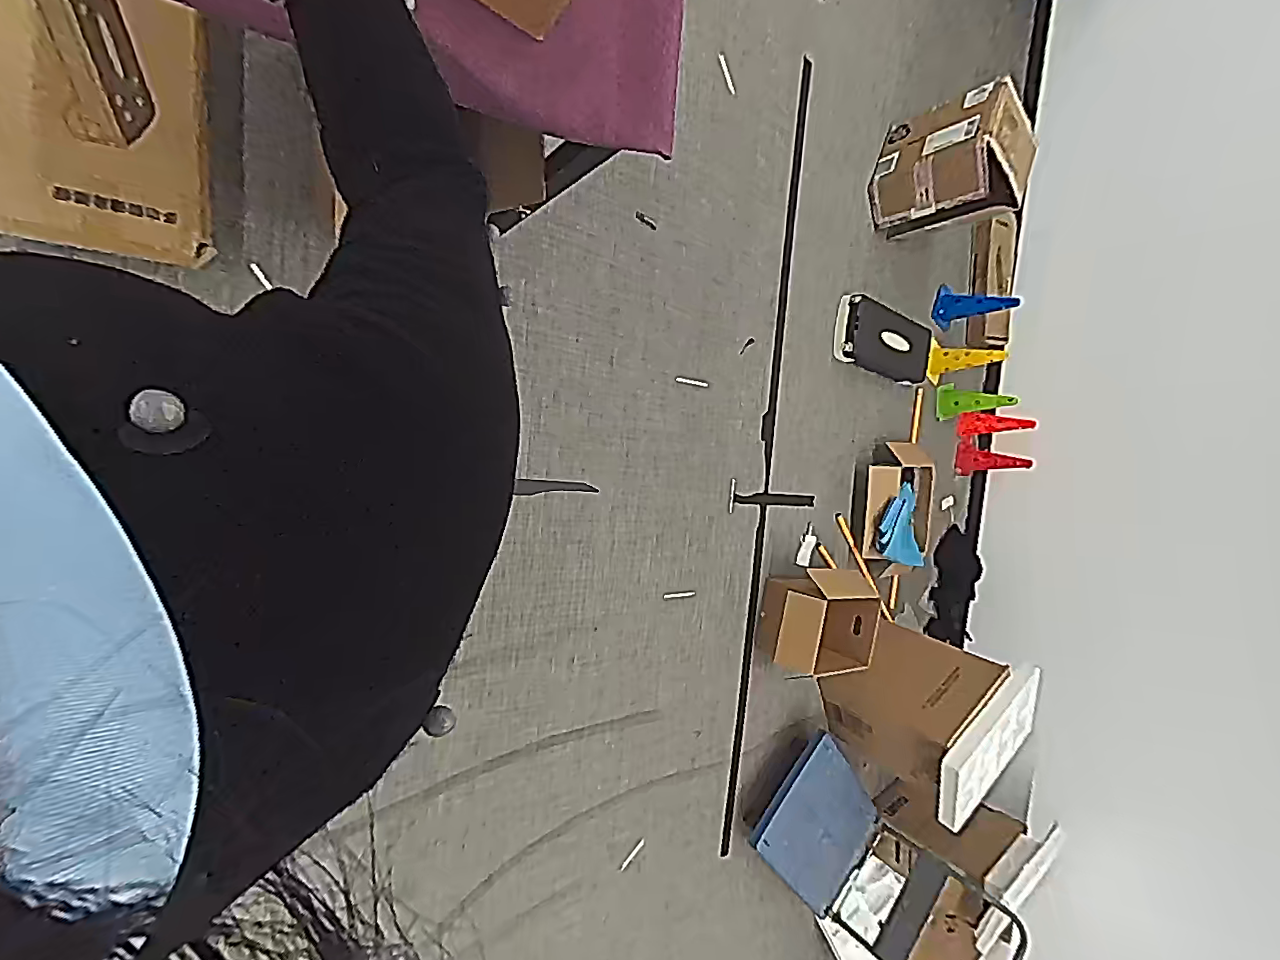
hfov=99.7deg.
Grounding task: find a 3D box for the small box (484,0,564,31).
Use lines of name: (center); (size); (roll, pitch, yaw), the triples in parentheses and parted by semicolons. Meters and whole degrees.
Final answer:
small box: (-0.154, -0.715, 0.662); (0.179, 0.176, 0.168); (9, 91, -37)
